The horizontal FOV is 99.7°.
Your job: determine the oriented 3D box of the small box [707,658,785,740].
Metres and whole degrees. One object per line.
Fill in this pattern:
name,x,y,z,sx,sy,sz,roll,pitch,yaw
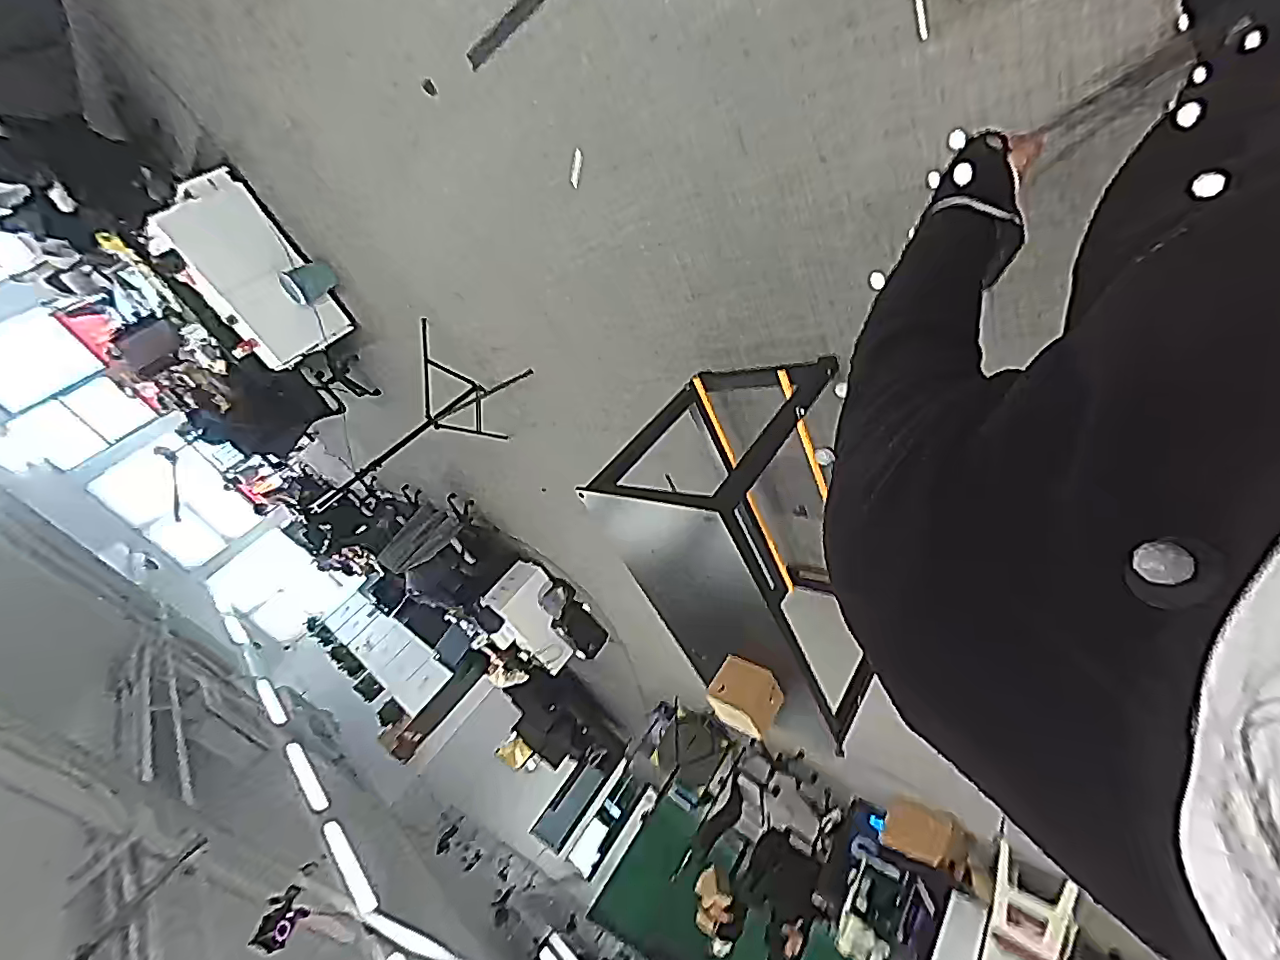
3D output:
small box,0.367,0.741,1.854,0.179,0.176,0.168,8,137,46
